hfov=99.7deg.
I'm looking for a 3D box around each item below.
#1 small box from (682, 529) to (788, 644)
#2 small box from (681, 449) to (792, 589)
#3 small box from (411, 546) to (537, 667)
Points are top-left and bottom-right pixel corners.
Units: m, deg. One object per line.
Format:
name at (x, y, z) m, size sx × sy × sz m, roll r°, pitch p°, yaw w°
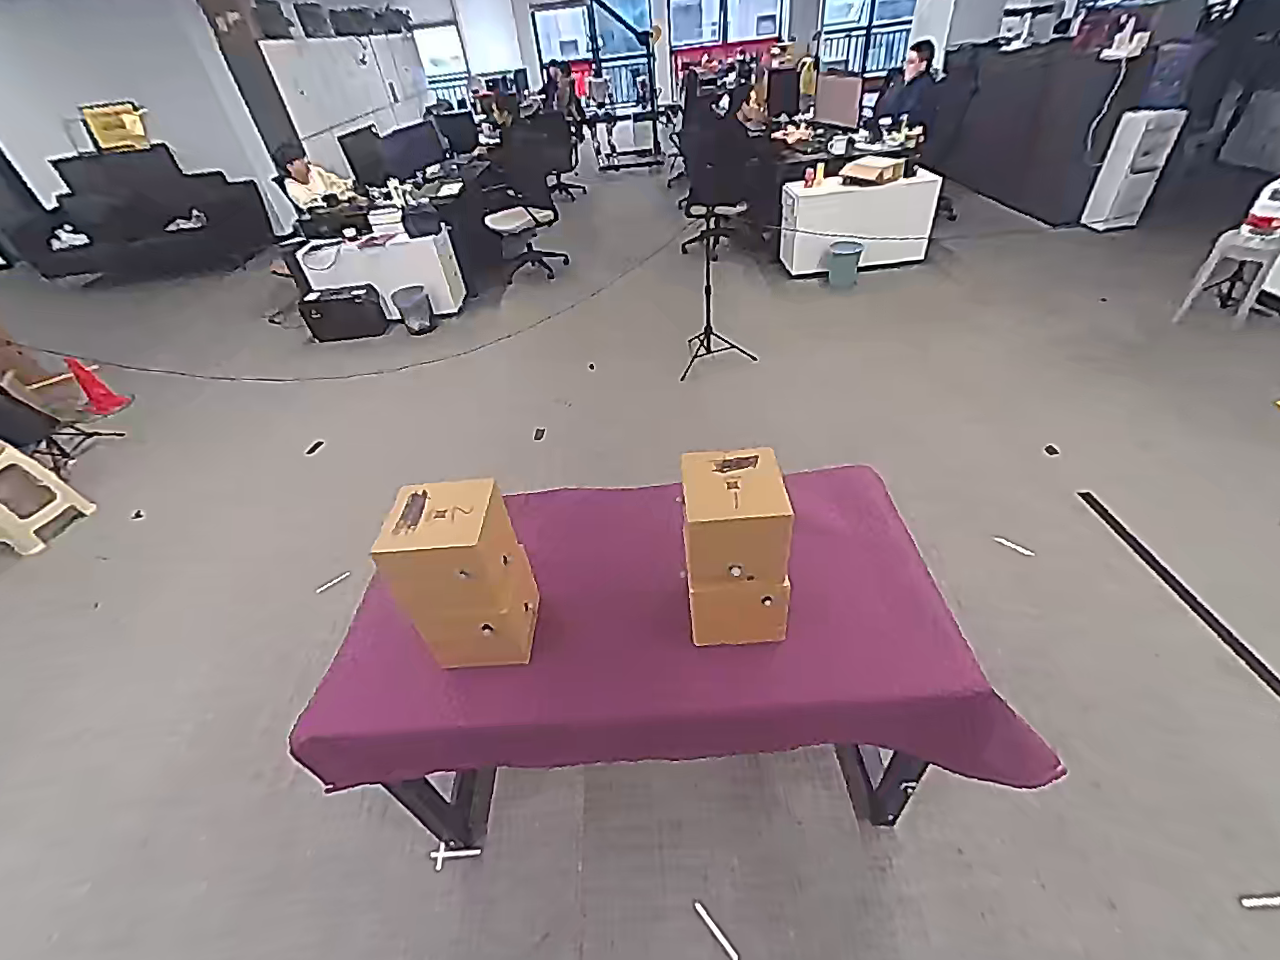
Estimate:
small box at (0.177, 0.201, 1.041) m, size 0.179 × 0.176 × 0.168 m, roll -4°, pitch 40°, yaw 3°
small box at (0.159, 0.068, 0.945) m, size 0.168 × 0.176 × 0.179 m, roll -5°, pitch 40°, yaw 3°
small box at (-0.309, 0.249, 1.055) m, size 0.179 × 0.176 × 0.168 m, roll -4°, pitch 40°, yaw 4°
